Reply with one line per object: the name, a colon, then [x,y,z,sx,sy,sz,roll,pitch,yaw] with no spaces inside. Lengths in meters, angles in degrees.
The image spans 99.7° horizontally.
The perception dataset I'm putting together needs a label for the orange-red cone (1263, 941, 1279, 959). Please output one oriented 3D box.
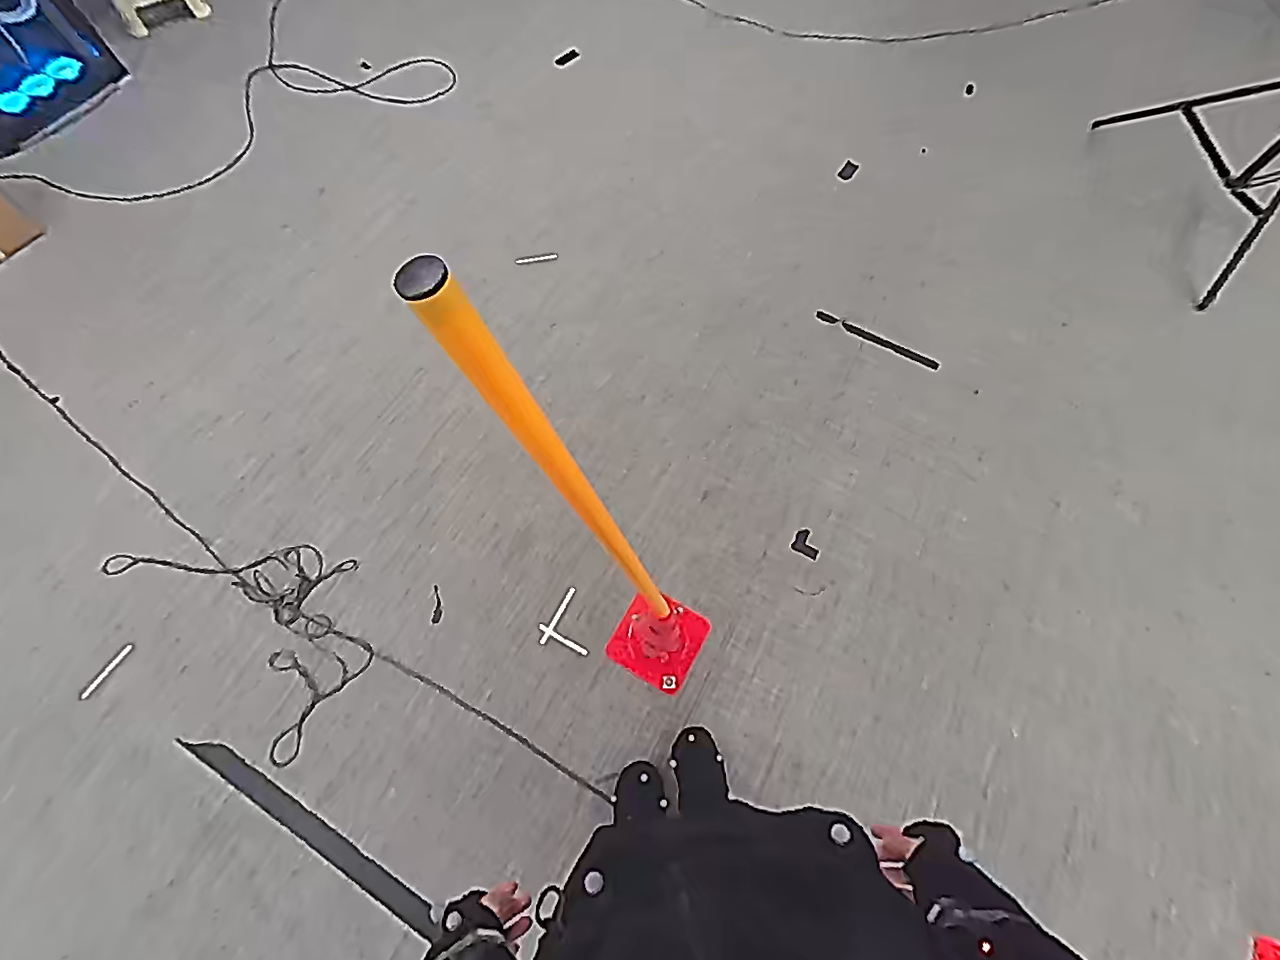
orange-red cone: [1.263,0.948,0.853,0.199,0.360,0.198,31,70,12]
